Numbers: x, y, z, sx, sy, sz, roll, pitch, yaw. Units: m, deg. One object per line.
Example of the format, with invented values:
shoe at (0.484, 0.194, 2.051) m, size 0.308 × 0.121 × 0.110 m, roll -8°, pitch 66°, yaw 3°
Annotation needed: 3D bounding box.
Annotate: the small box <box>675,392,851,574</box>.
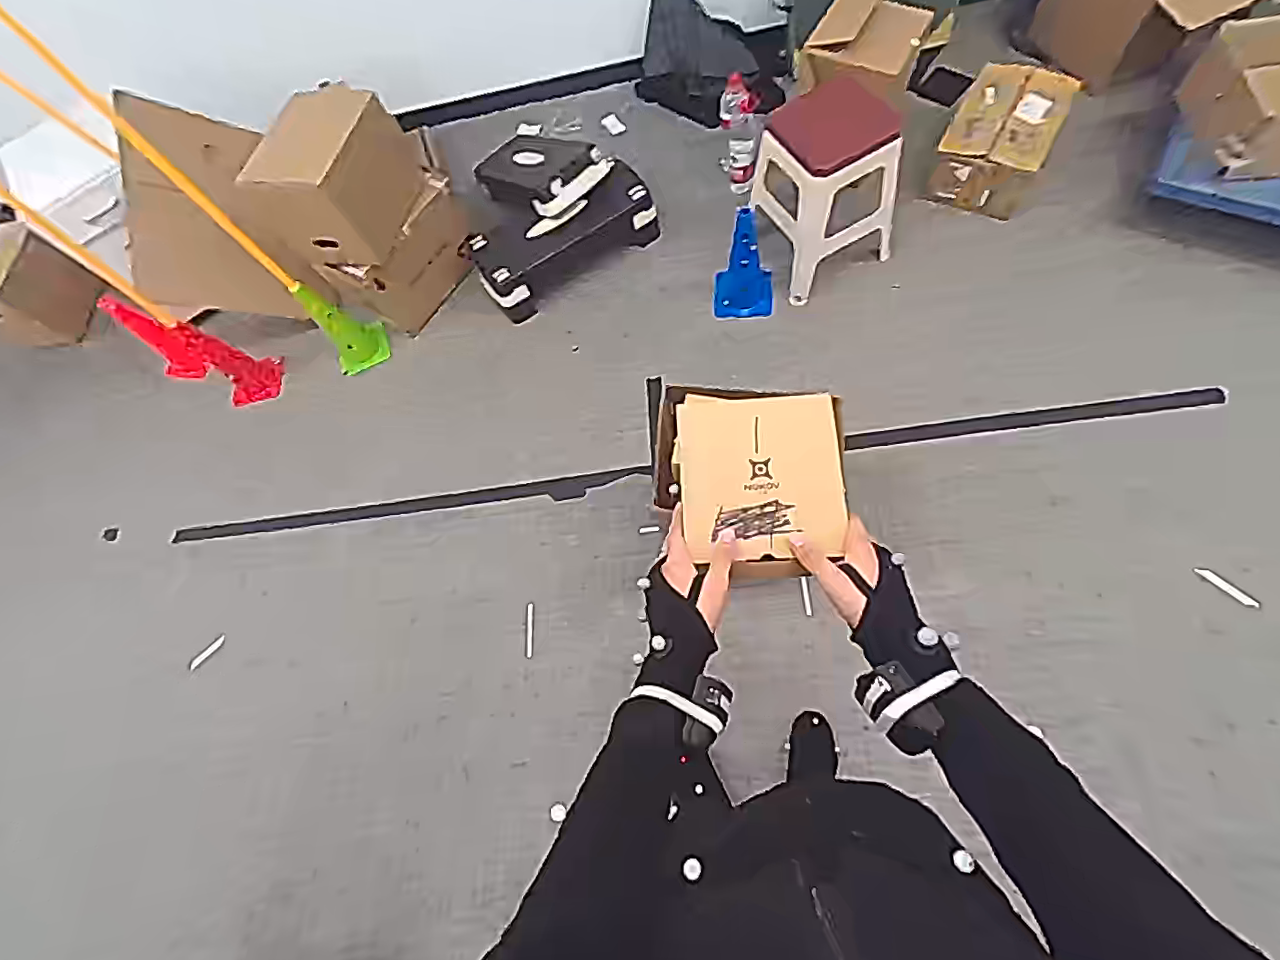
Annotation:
small box at (0.130, 0.016, 0.626) m, size 0.168 × 0.176 × 0.179 m, roll -4°, pitch 75°, yaw 5°
